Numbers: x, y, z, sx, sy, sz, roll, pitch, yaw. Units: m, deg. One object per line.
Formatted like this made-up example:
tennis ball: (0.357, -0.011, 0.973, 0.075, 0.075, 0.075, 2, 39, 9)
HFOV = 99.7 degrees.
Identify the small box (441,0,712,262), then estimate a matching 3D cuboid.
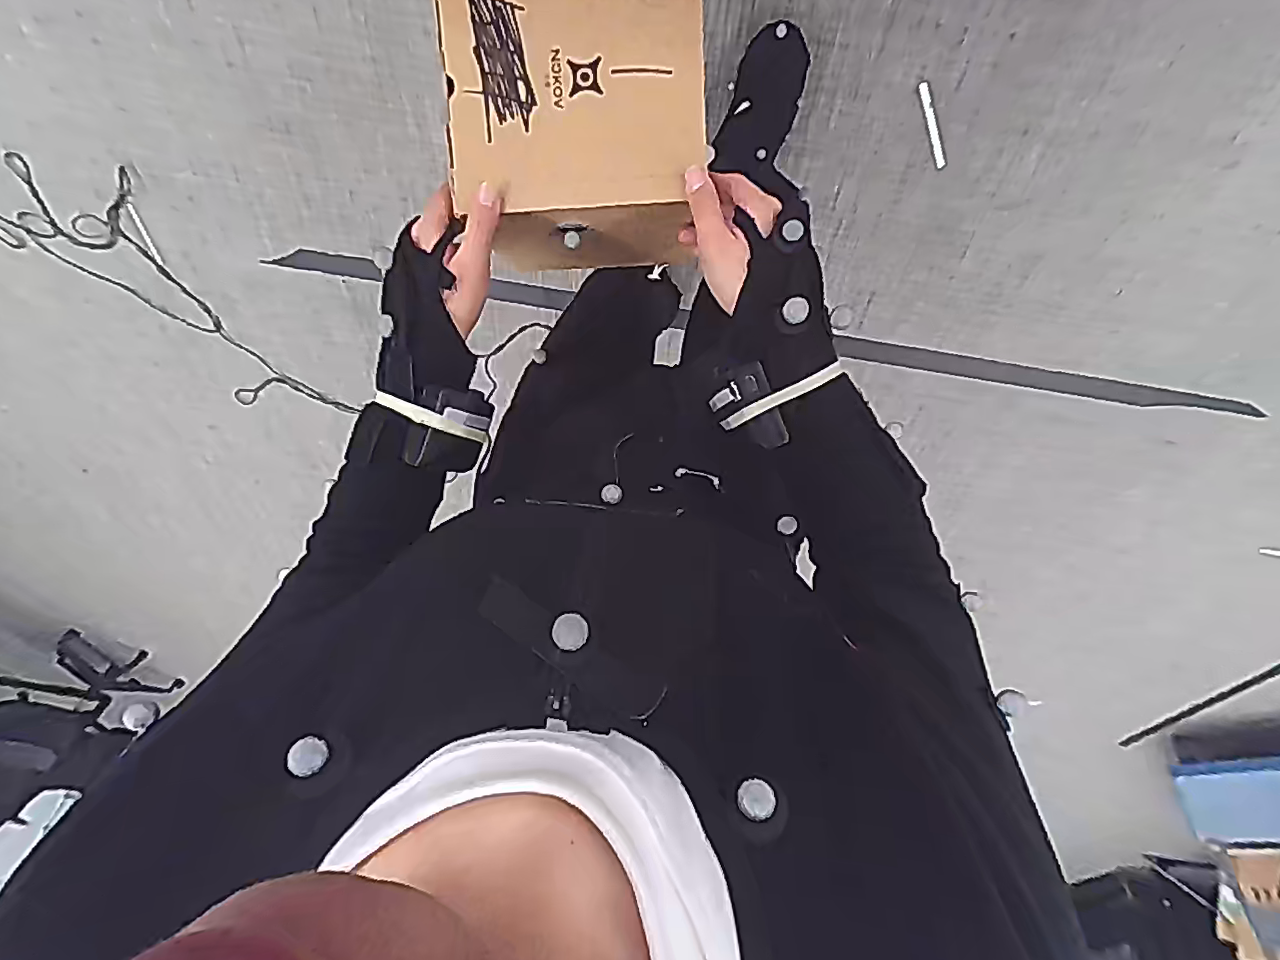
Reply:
small box: (-0.038, -0.280, 0.429, 0.179, 0.176, 0.168, -2, 98, 1)
